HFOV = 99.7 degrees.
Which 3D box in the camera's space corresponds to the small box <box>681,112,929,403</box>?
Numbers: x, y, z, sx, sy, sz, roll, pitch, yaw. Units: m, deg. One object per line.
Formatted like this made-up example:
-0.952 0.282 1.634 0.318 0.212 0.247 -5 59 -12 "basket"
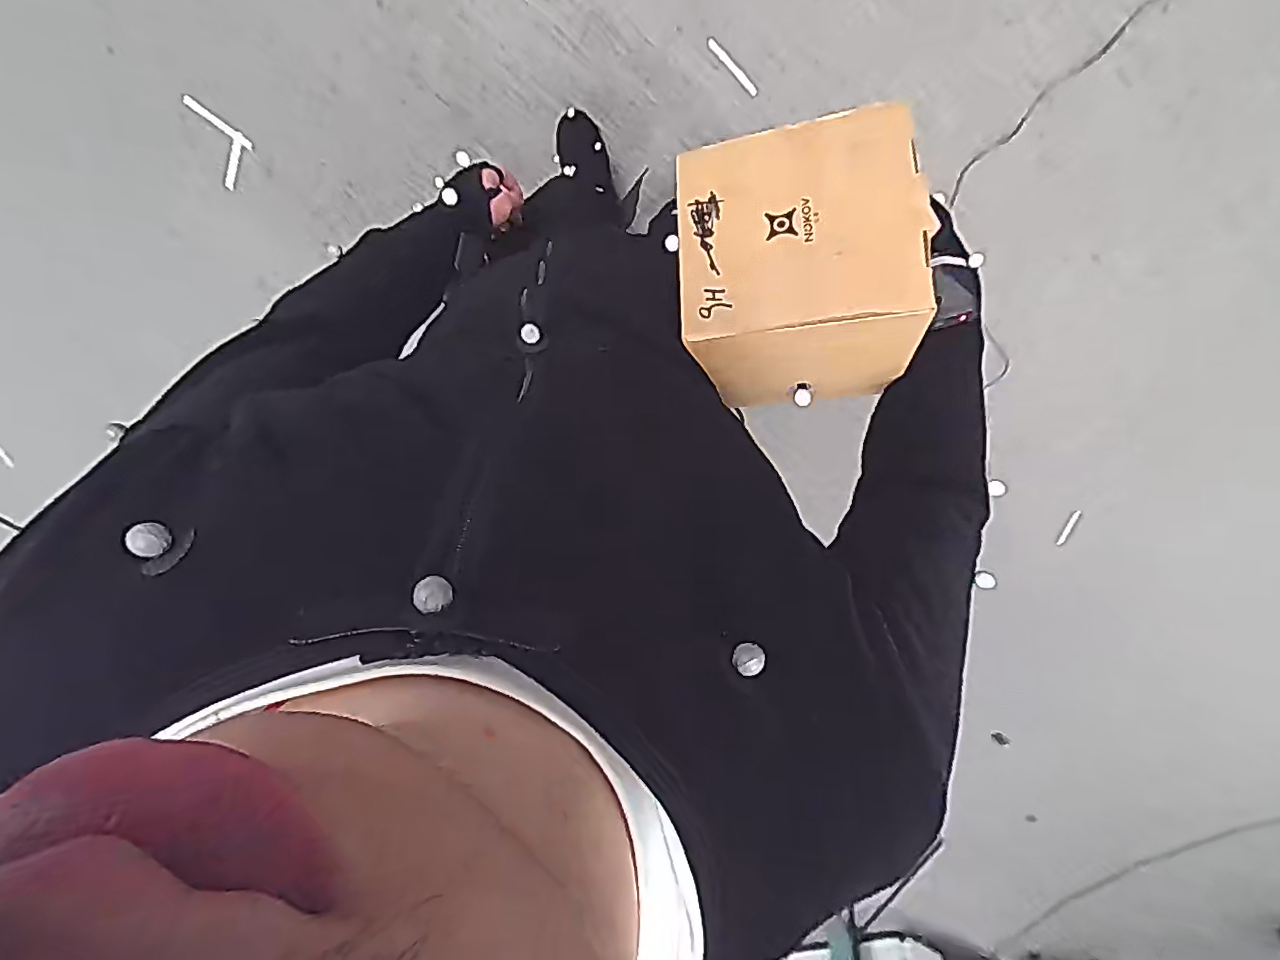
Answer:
0.139 -0.178 0.489 0.179 0.168 0.176 -4 168 16 "small box"
